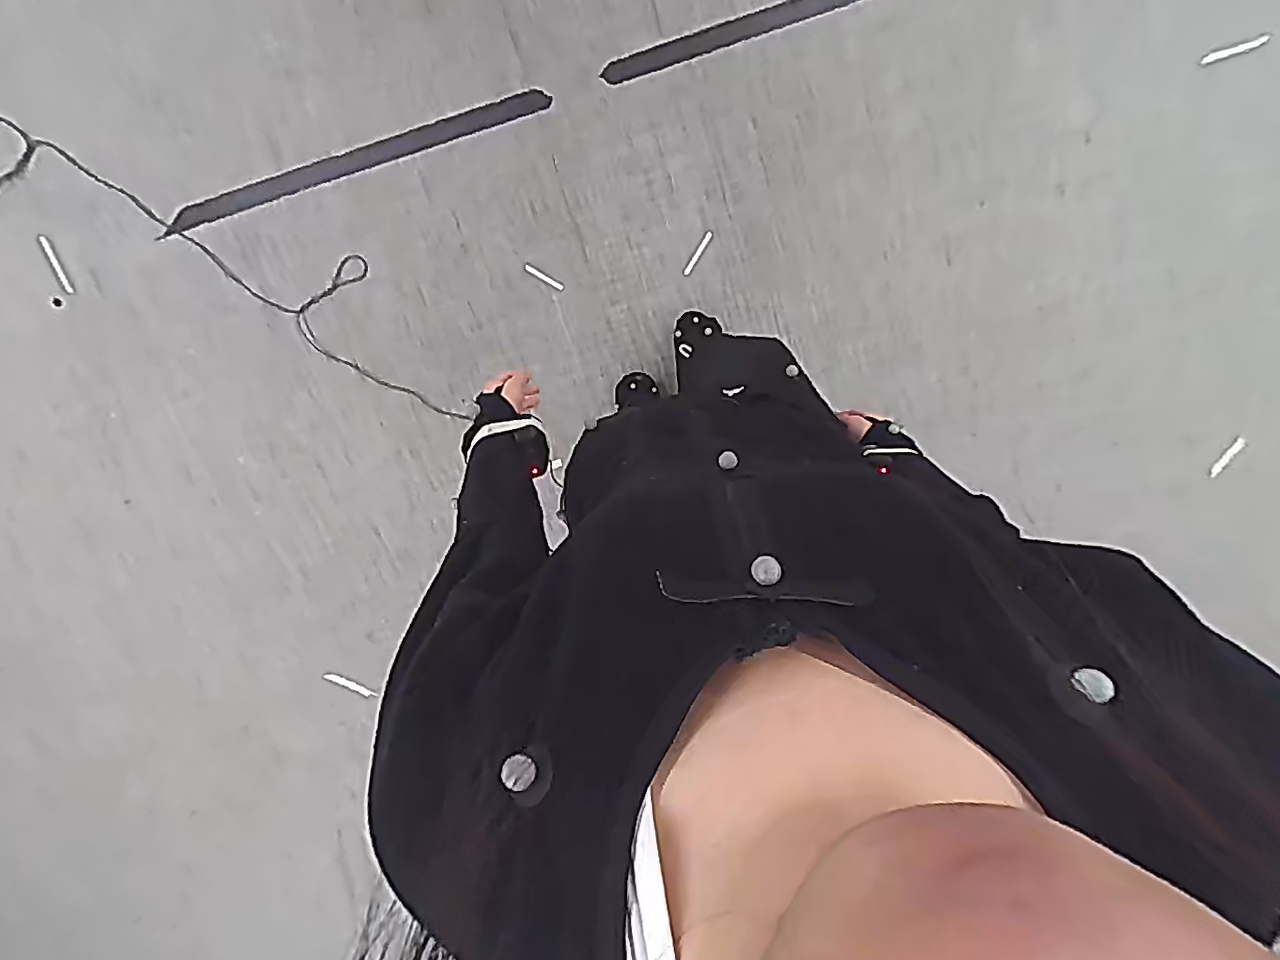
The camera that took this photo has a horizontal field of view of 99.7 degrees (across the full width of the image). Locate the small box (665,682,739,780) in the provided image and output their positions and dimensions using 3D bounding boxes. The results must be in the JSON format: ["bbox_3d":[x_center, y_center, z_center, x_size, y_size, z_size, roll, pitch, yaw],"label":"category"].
[{"bbox_3d":[0.179,0.733,1.588,0.168,0.176,0.179,-19,103,3],"label":"small box"}]
